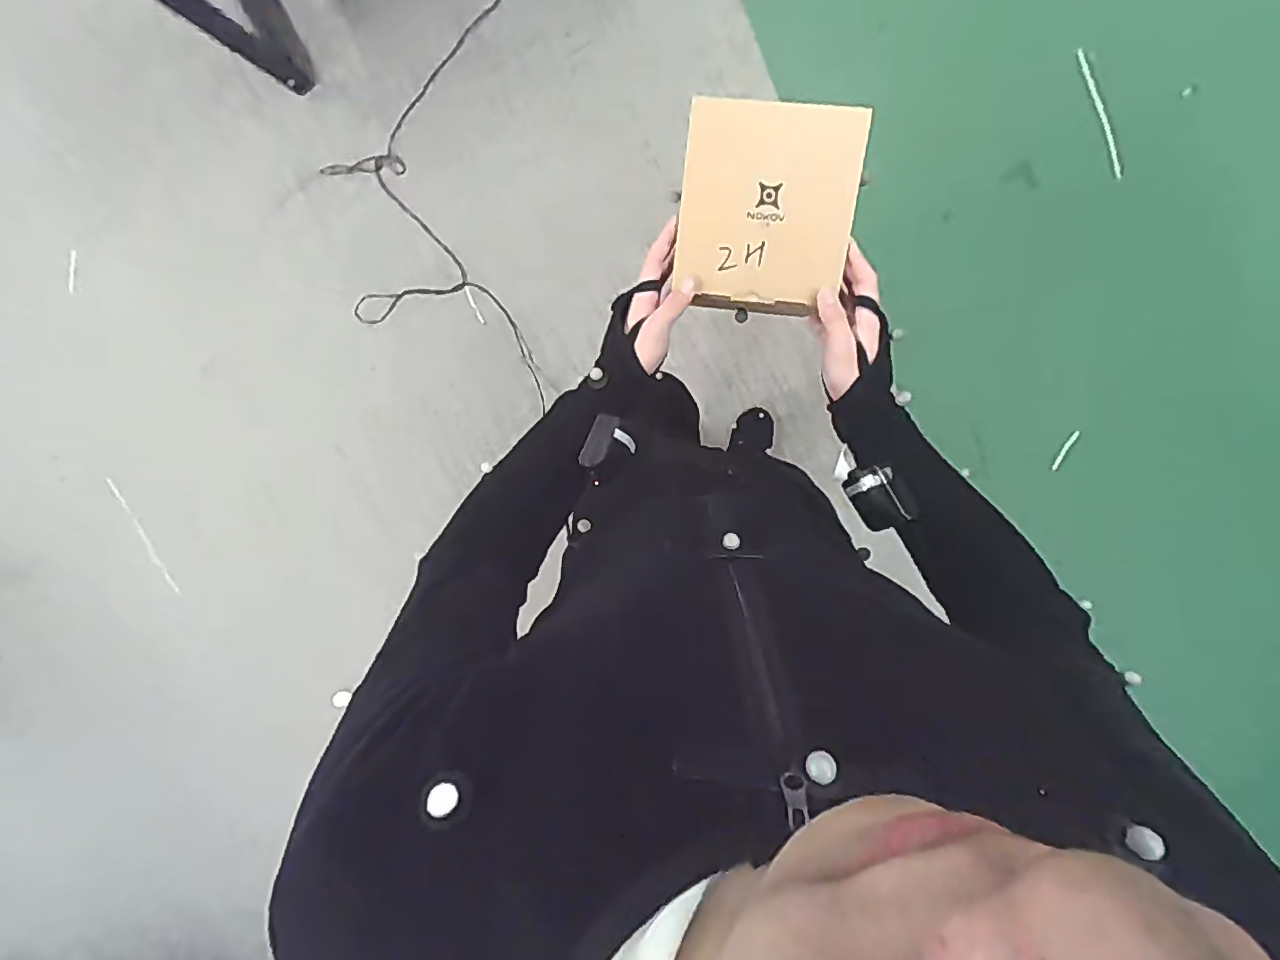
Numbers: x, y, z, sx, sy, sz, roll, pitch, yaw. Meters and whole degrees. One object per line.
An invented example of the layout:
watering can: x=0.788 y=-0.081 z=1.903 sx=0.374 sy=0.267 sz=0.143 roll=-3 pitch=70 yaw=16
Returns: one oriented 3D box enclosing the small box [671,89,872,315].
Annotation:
small box: x=0.126 y=-0.281 z=0.583 sx=0.168 sy=0.176 sz=0.179 roll=7 pitch=105 yaw=4
